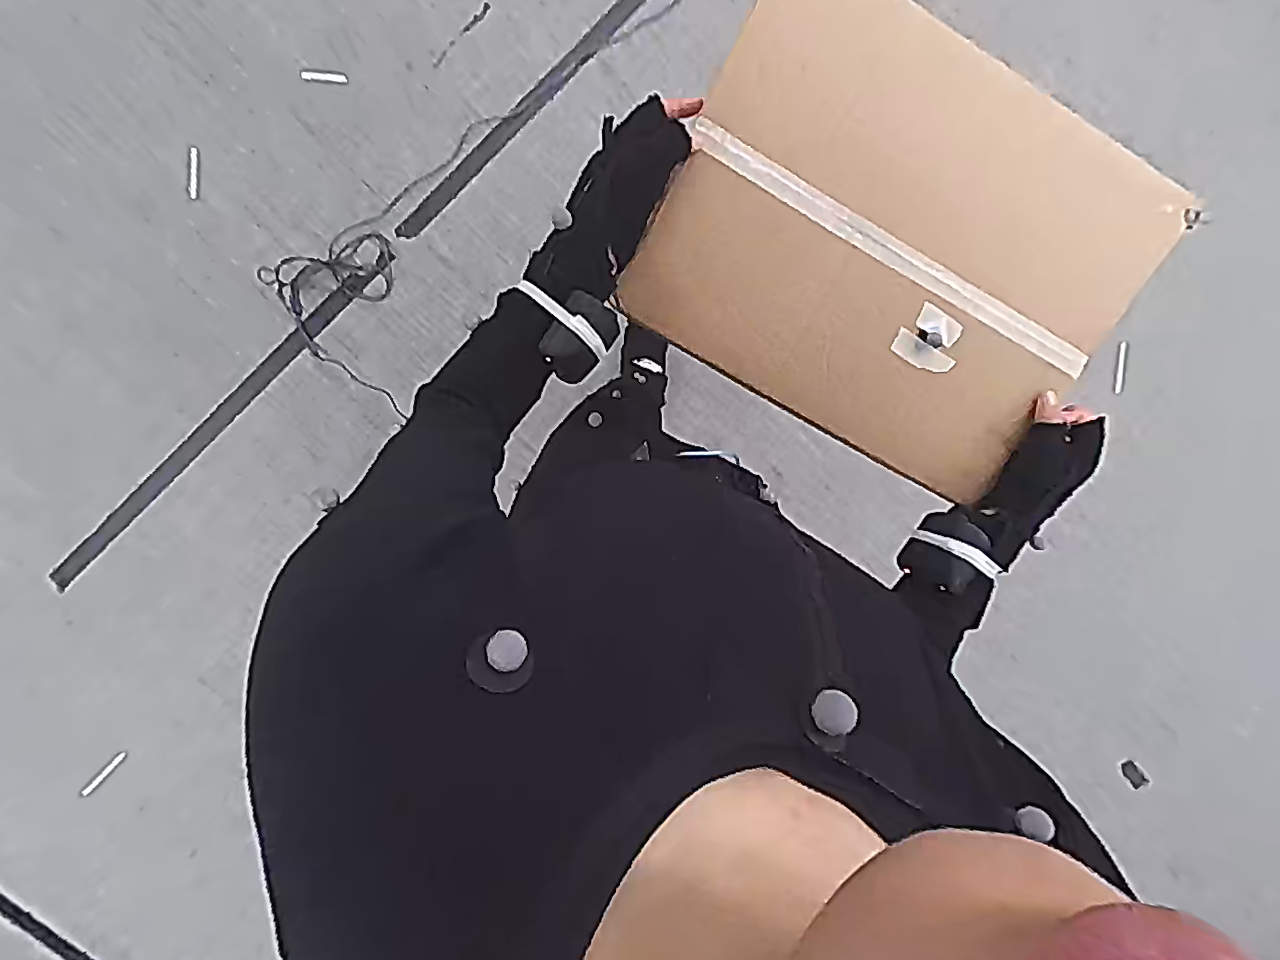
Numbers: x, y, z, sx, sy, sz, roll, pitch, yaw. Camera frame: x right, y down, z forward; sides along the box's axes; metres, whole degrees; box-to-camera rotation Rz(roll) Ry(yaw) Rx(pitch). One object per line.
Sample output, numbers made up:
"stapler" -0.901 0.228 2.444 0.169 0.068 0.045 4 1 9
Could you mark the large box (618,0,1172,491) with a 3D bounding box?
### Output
"large box" 0.221 -0.245 0.626 0.408 0.320 0.320 28 105 -7
